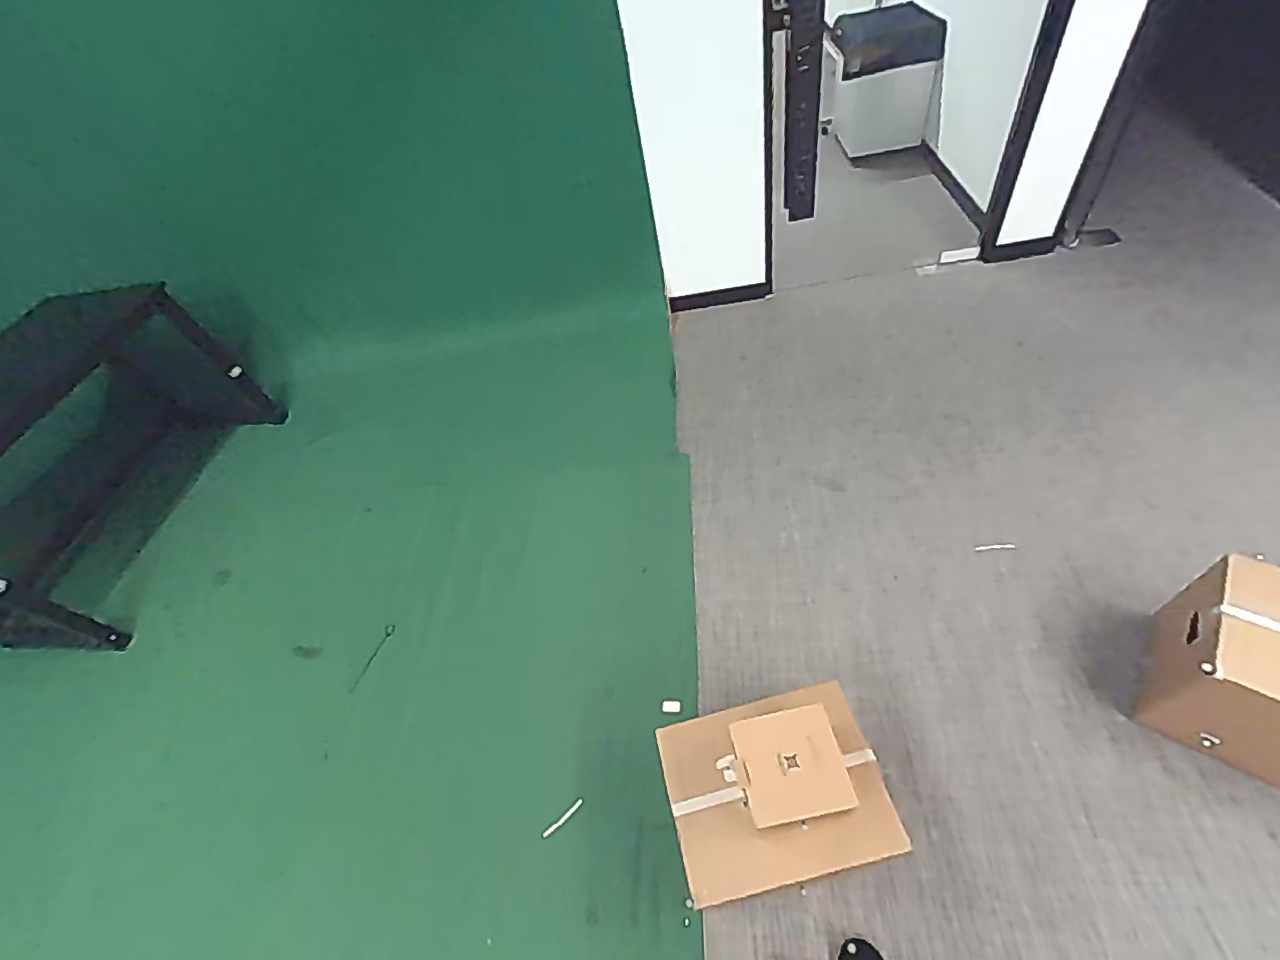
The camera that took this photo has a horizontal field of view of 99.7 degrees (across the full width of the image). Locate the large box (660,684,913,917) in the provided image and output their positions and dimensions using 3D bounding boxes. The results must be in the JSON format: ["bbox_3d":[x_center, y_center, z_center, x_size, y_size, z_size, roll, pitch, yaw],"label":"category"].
[{"bbox_3d":[0.292,0.688,1.155,0.408,0.320,0.320,-17,48,2],"label":"large box"}]

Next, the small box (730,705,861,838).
[{"bbox_3d":[0.271,0.526,0.969,0.179,0.176,0.168,-14,51,3],"label":"small box"}]
